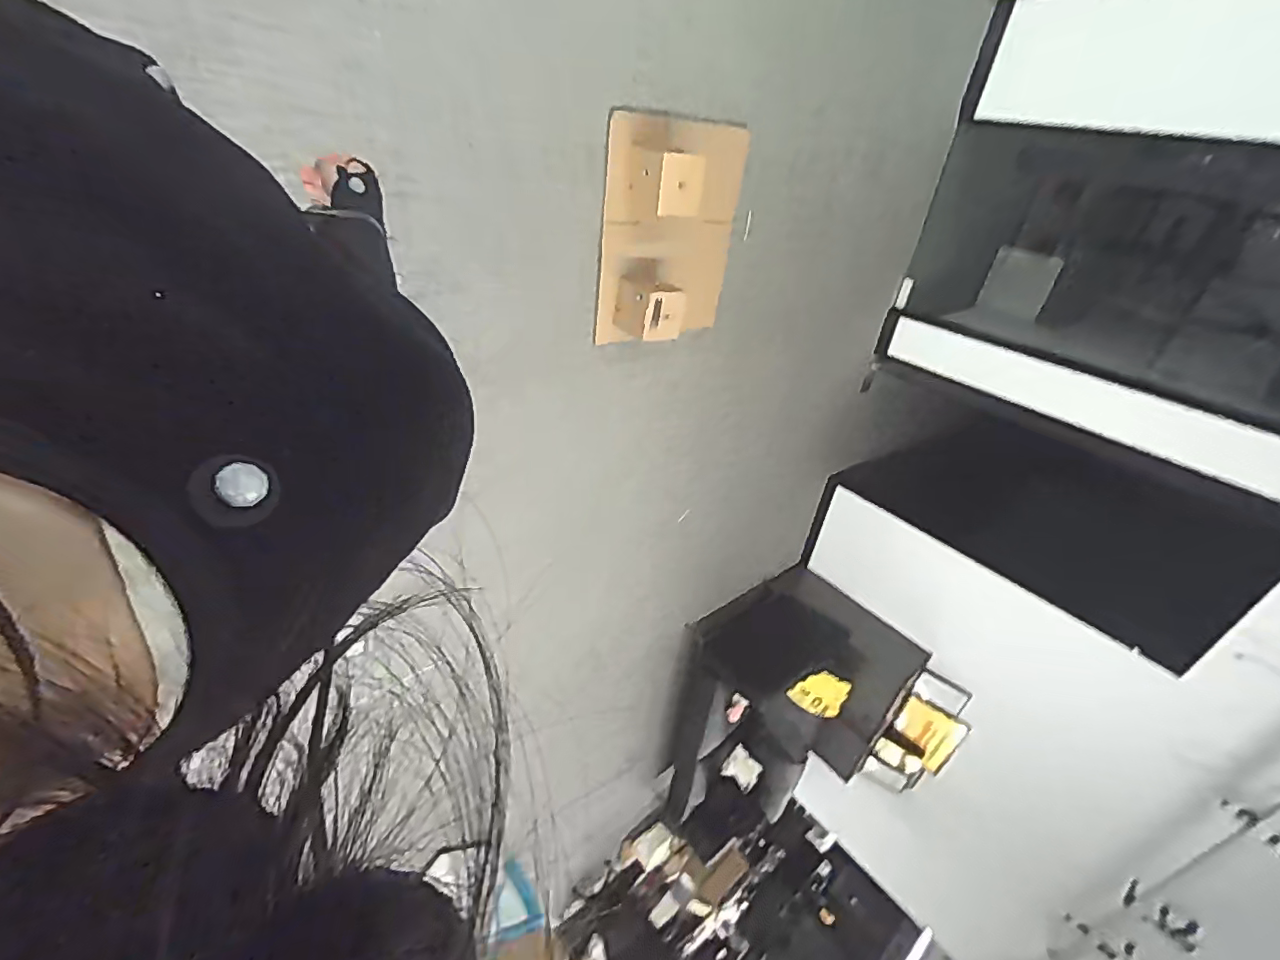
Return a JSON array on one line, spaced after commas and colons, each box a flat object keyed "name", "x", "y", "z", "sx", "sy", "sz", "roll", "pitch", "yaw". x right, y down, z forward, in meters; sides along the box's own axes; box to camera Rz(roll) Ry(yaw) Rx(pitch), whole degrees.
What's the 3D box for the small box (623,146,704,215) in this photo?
[{"name": "small box", "x": 0.067, "y": -0.919, "z": 1.659, "sx": 0.179, "sy": 0.176, "sz": 0.168, "roll": -23, "pitch": 134, "yaw": -35}]
